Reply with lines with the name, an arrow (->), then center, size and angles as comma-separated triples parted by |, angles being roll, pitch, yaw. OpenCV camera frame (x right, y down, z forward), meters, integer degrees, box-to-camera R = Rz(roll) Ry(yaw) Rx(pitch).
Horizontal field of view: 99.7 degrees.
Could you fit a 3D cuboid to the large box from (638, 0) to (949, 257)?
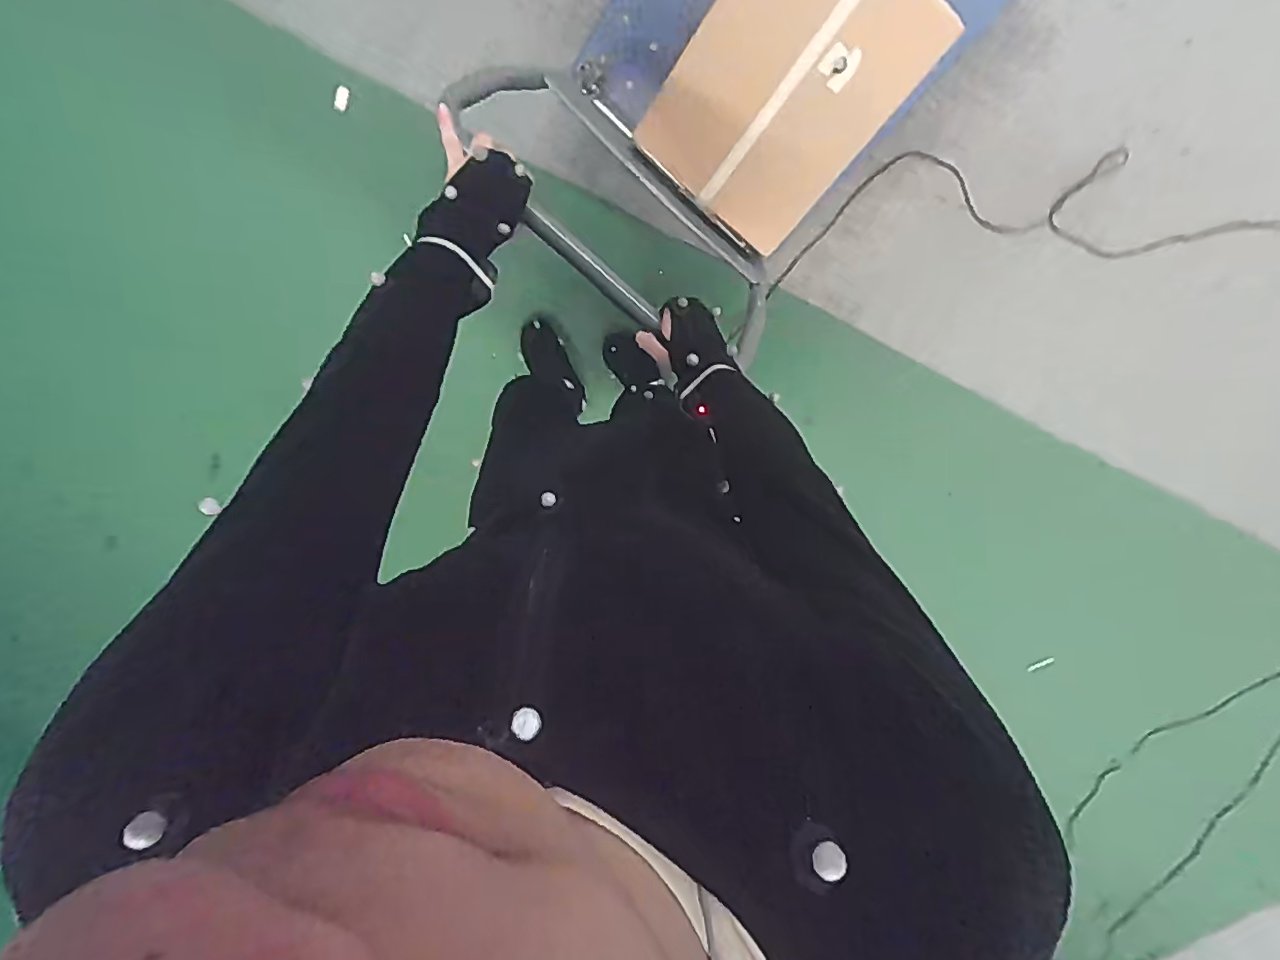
large box -> 0.249, -0.697, 0.993 | 0.320, 0.320, 0.408 | 36, 121, -14
